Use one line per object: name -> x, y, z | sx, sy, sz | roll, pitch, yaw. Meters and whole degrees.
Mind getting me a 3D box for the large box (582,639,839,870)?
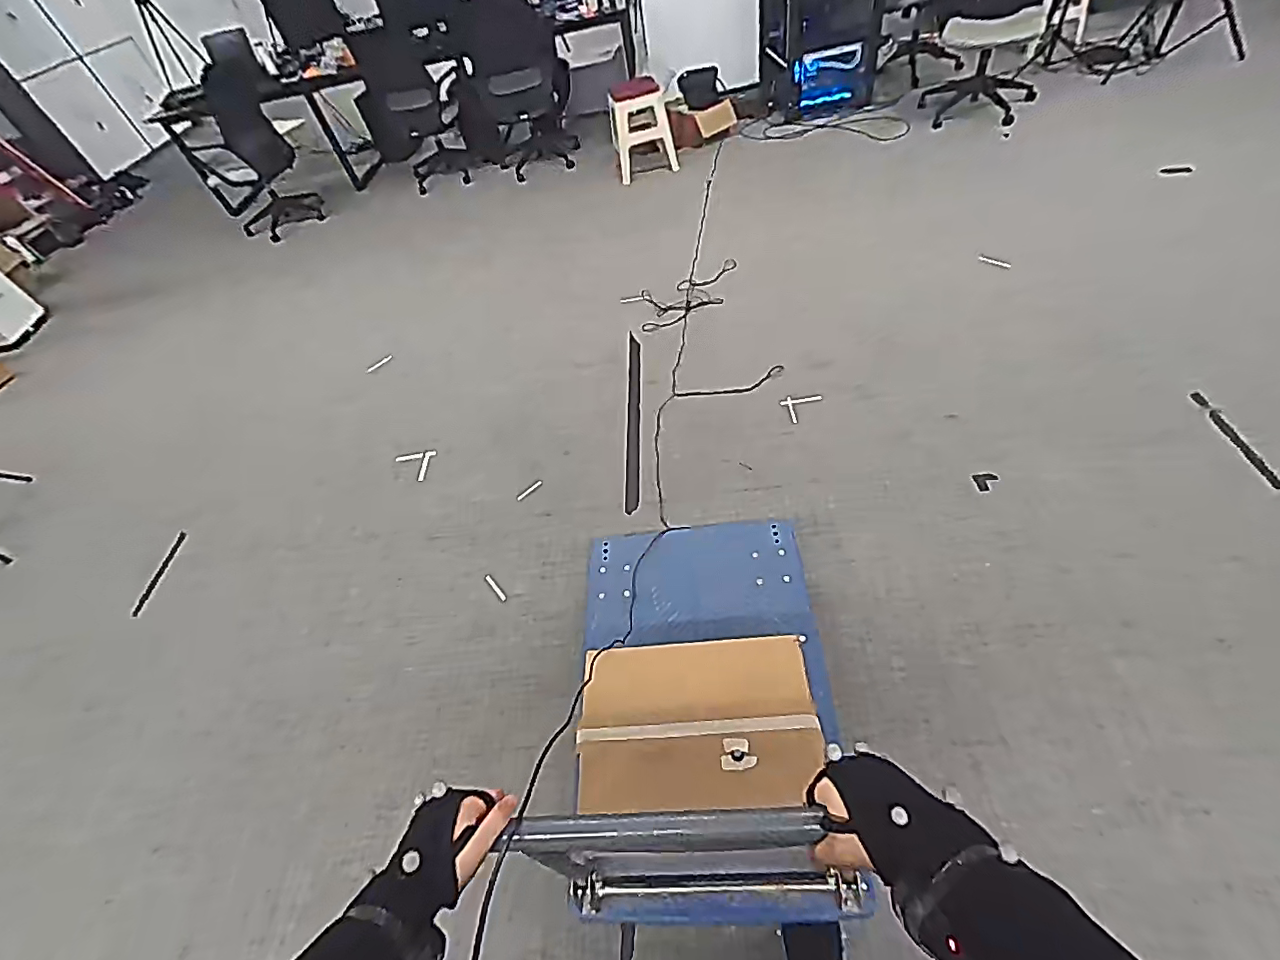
large box -> 0.121, 0.529, 1.029 | 0.408, 0.320, 0.320 | -7, 49, 6
